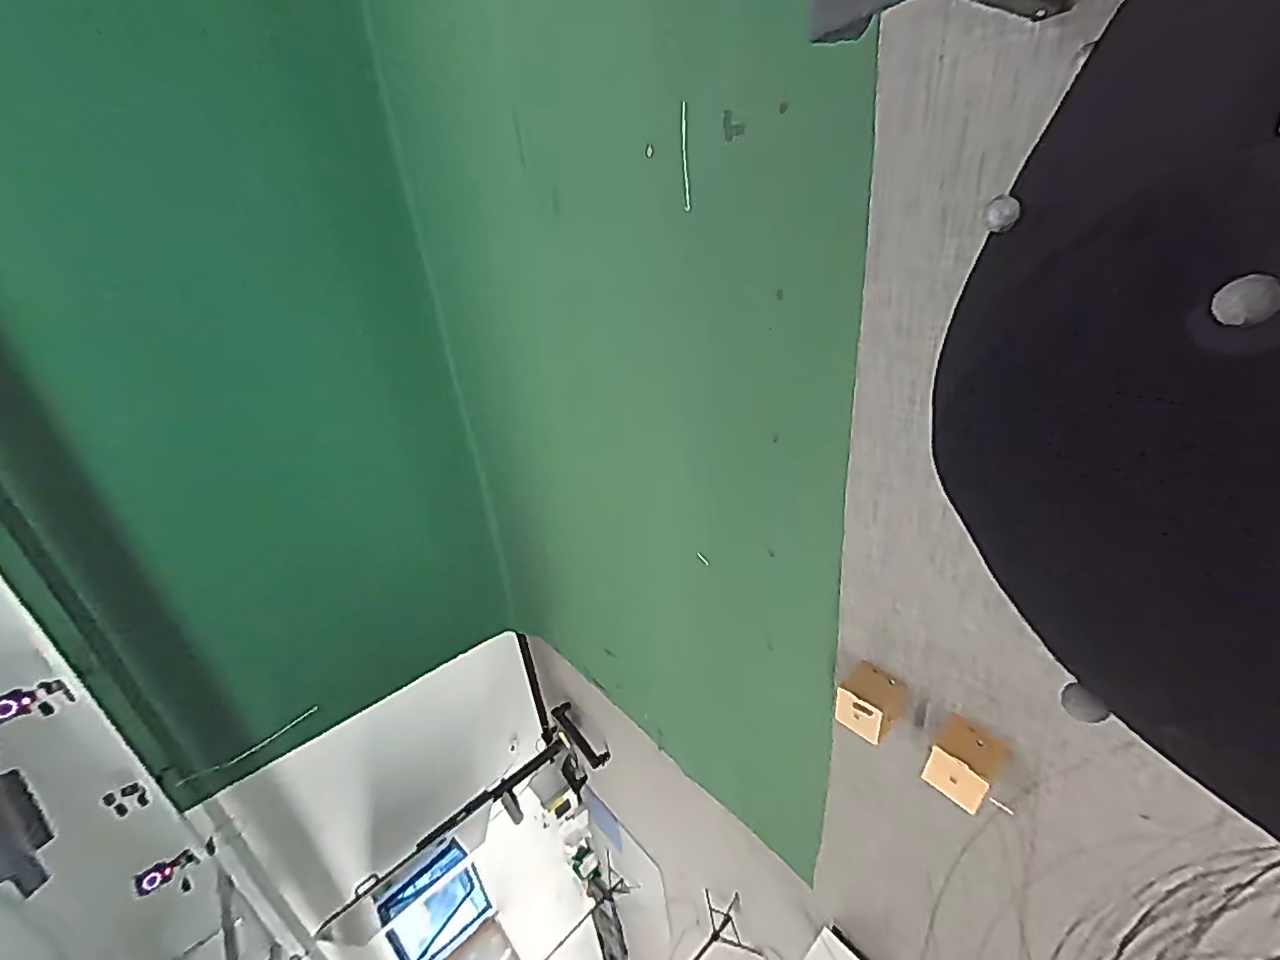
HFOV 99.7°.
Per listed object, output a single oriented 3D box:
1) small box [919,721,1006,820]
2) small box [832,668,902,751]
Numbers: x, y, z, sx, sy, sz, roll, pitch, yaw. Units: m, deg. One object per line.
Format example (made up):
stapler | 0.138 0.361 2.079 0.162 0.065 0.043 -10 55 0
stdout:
small box | 1.022 0.913 1.712 0.168 0.176 0.179 29 131 41
small box | 0.811 0.812 1.929 0.168 0.176 0.179 24 129 44
